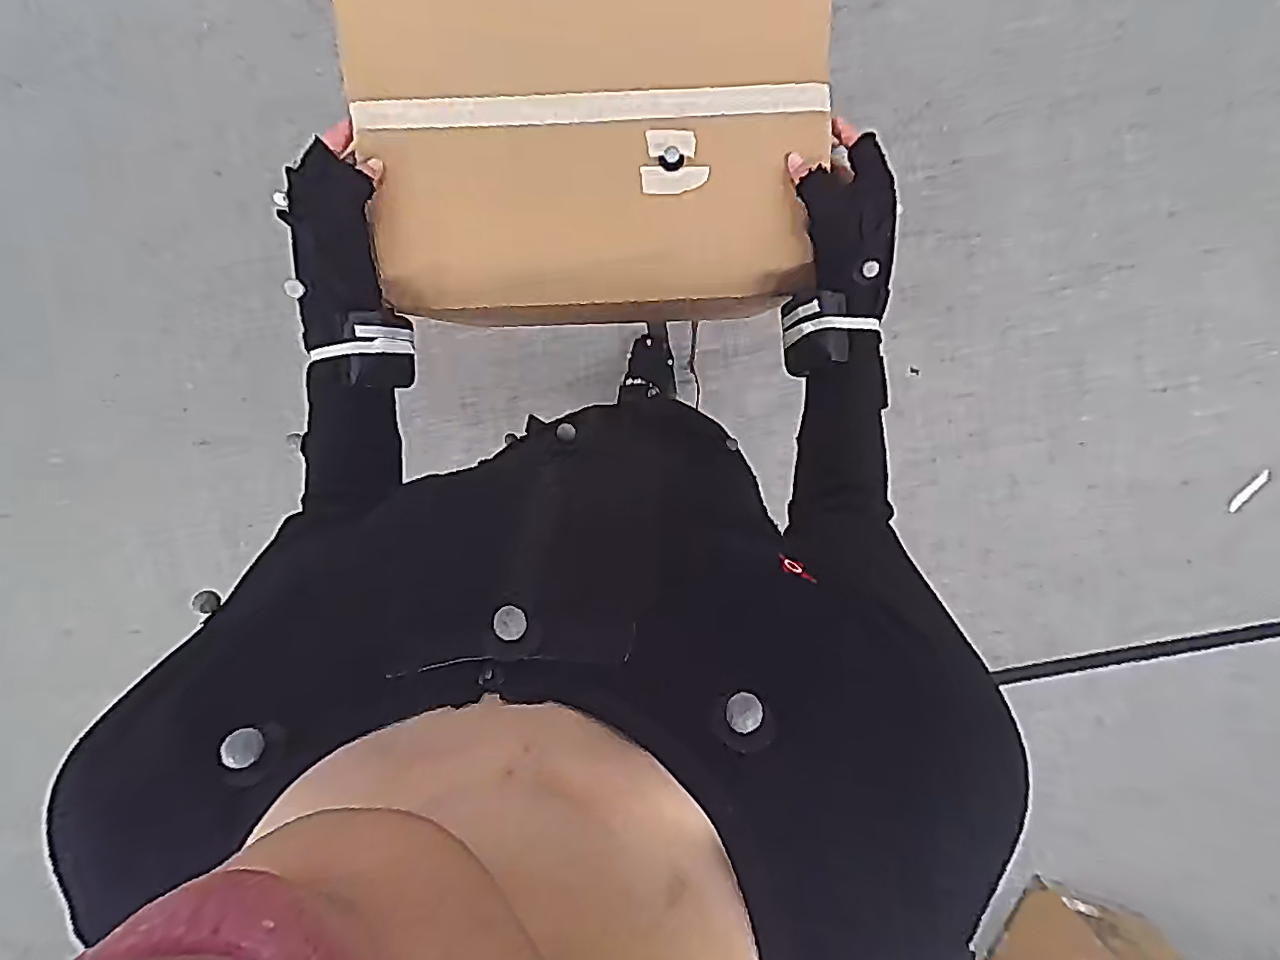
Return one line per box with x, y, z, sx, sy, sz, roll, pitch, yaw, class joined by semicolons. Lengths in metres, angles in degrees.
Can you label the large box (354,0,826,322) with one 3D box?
-0.042;-0.360;0.615;0.408;0.320;0.320;-2;103;-1;large box
